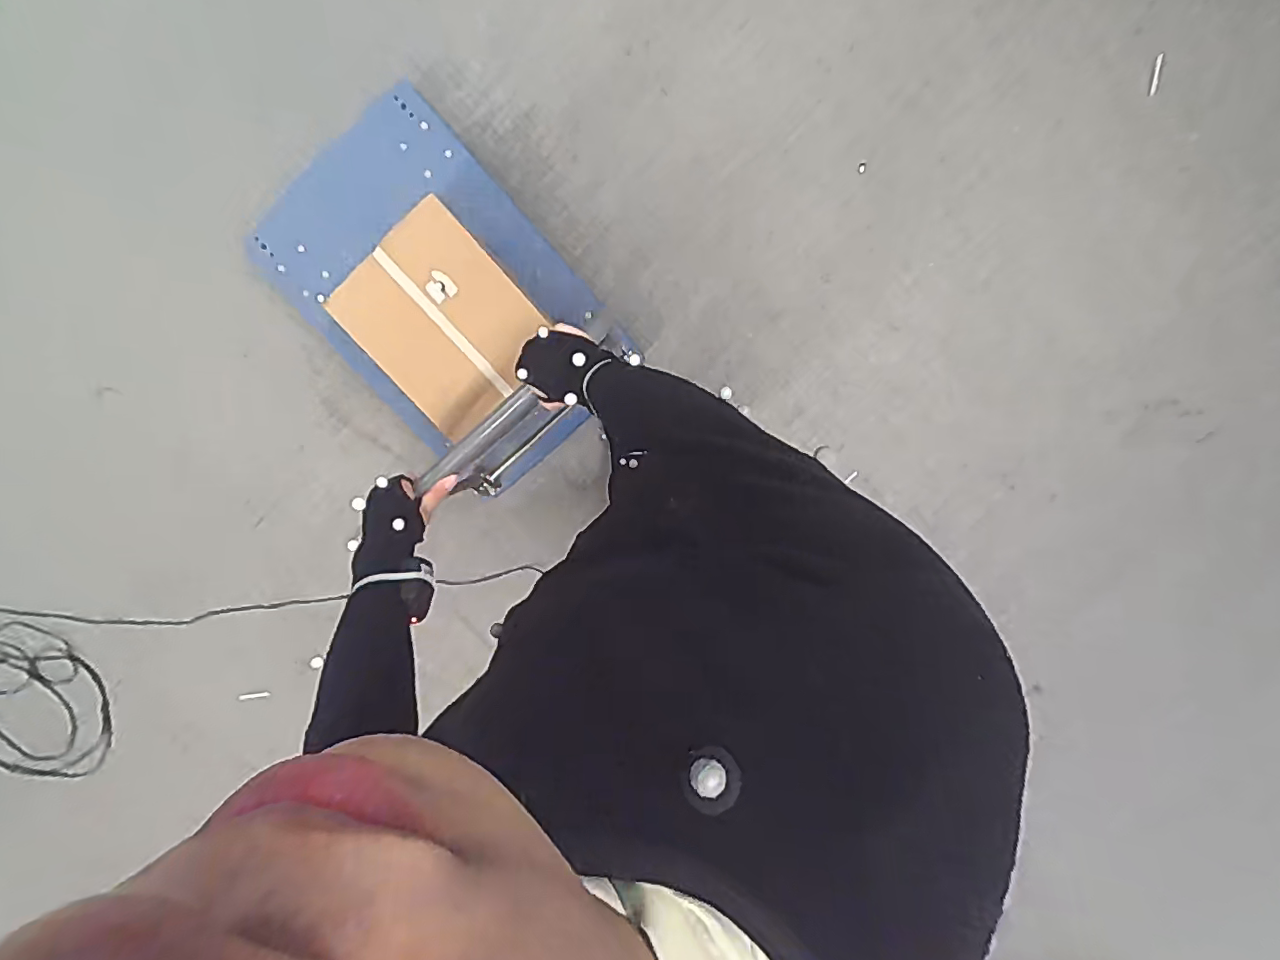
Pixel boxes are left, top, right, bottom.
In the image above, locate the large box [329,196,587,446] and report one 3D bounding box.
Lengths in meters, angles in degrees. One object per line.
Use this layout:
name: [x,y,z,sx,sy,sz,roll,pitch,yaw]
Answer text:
large box: [-0.377,-0.333,1.231,0.320,0.320,0.408,-41,97,6]
